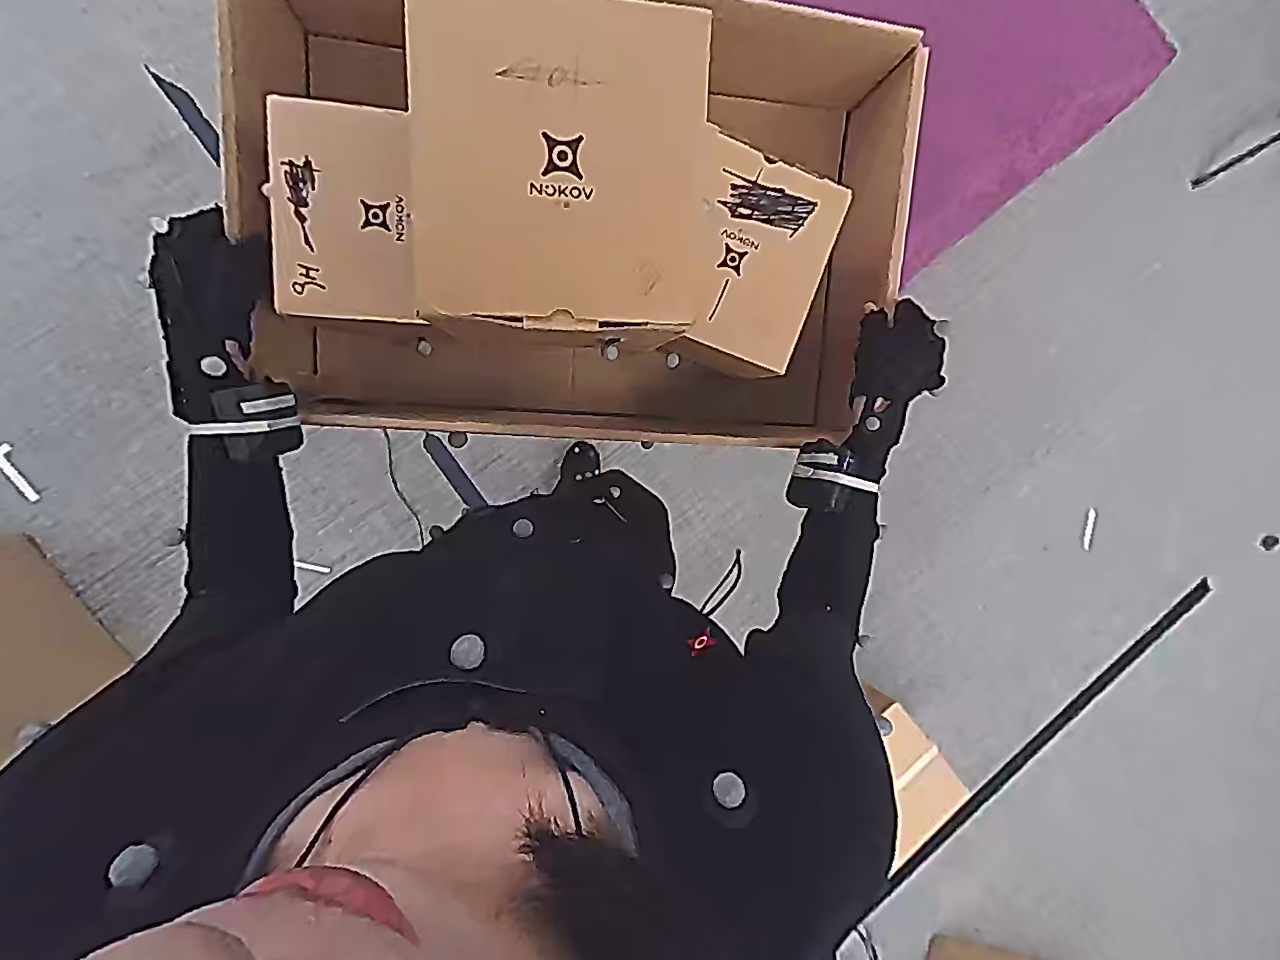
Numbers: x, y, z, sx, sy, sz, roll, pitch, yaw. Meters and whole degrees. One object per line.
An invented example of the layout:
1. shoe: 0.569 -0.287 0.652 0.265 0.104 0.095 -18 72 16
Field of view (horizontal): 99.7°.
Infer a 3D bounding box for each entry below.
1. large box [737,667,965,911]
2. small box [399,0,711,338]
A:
1. large box: 0.536 0.784 1.439 0.408 0.320 0.320 -39 93 -6
2. small box: -0.056 -0.195 0.374 0.168 0.176 0.179 0 99 -9
